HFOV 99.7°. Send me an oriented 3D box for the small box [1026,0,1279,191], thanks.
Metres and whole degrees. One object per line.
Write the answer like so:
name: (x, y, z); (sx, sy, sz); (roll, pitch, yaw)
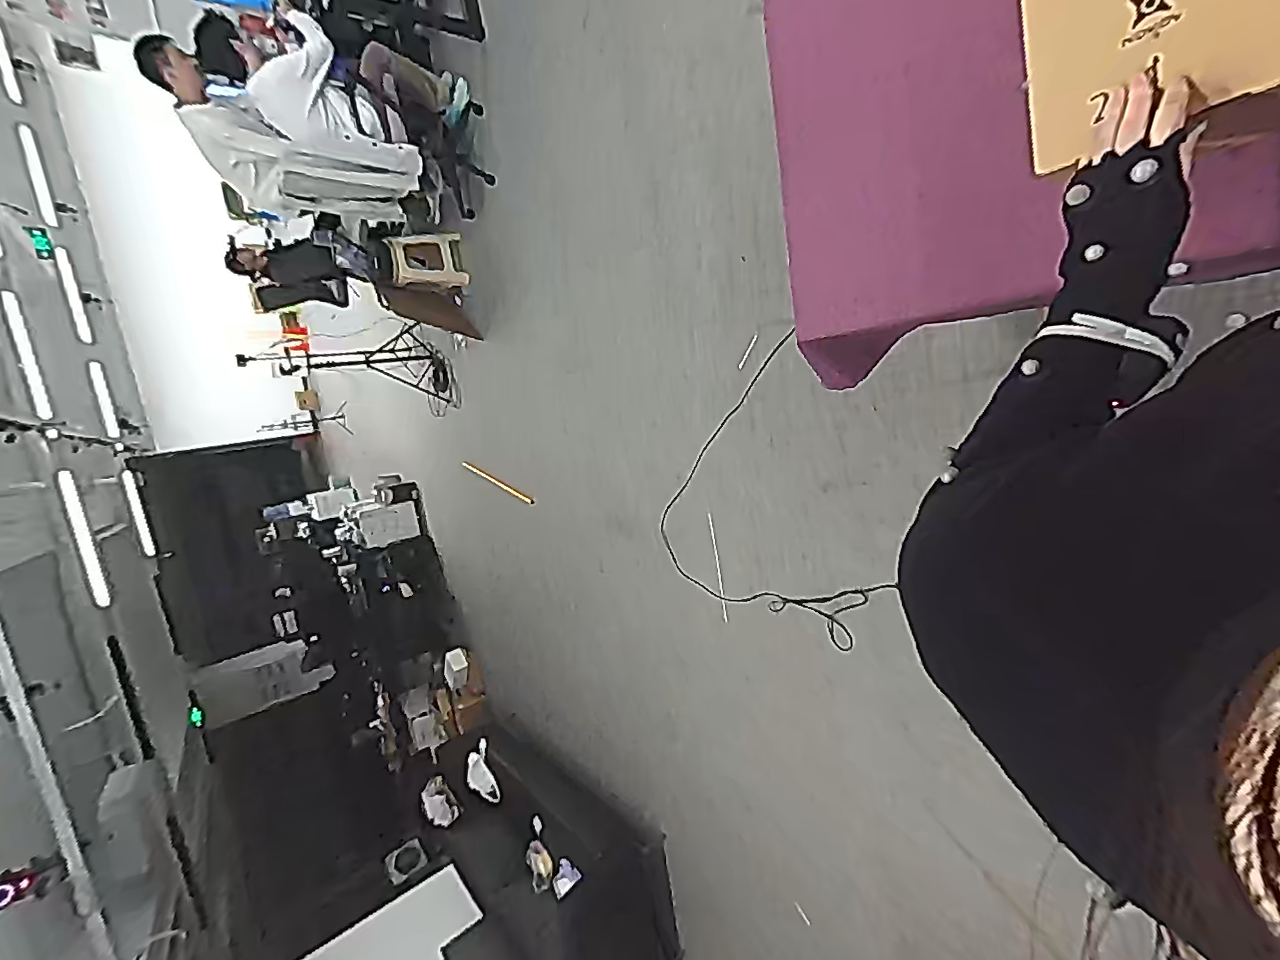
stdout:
small box: (0.468, -0.384, 0.477); (0.168, 0.176, 0.179); (0, 101, 54)
